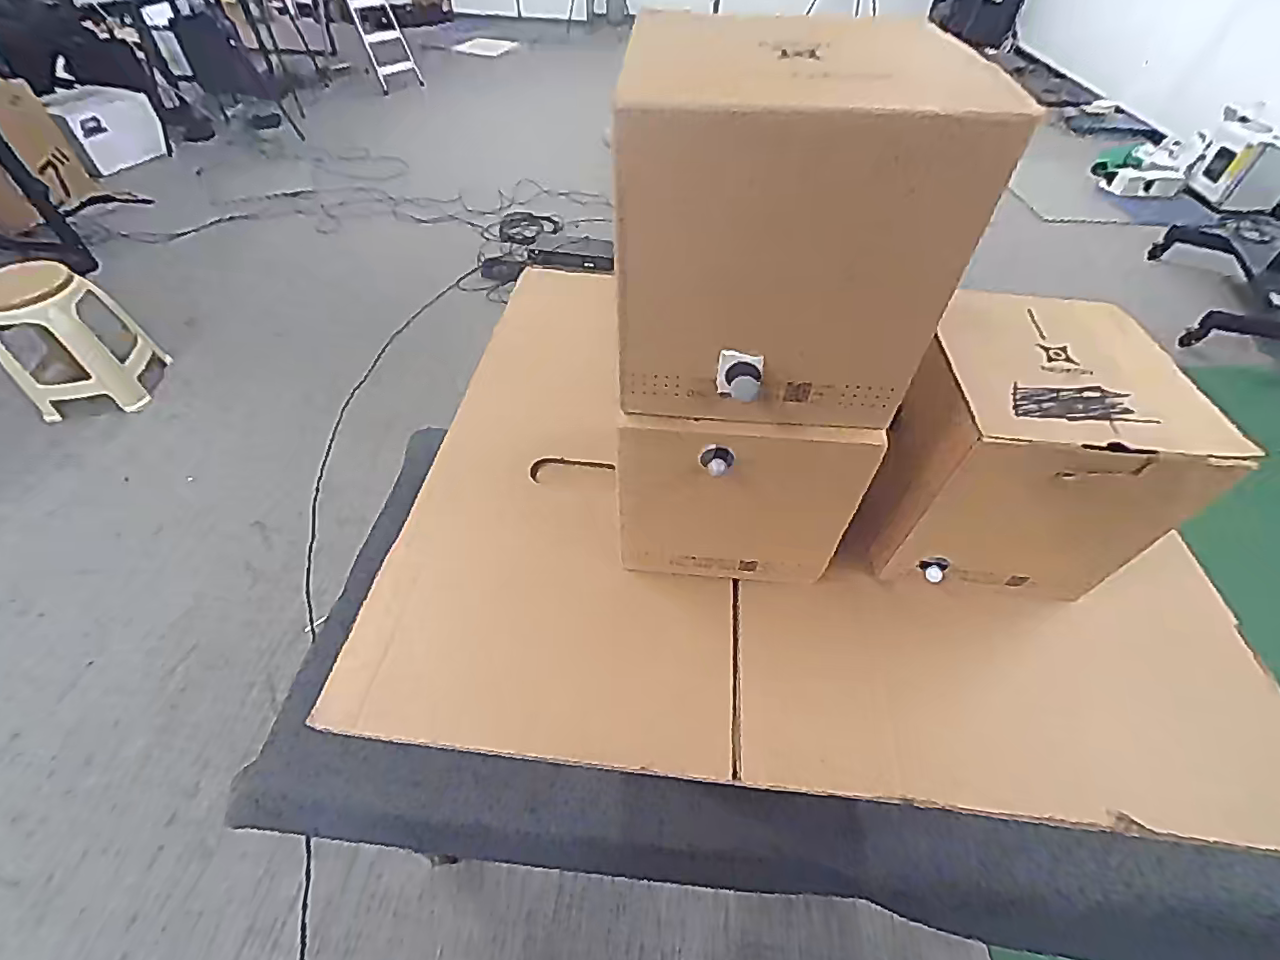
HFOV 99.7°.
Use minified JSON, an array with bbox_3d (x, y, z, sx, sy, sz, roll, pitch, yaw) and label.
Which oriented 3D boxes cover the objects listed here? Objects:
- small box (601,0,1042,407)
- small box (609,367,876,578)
[{"bbox_3d":[0.070,-0.165,0.314,0.168,0.176,0.179,2,51,2],"label":"small box"},{"bbox_3d":[0.070,-0.043,0.444,0.168,0.176,0.179,3,49,4],"label":"small box"}]
